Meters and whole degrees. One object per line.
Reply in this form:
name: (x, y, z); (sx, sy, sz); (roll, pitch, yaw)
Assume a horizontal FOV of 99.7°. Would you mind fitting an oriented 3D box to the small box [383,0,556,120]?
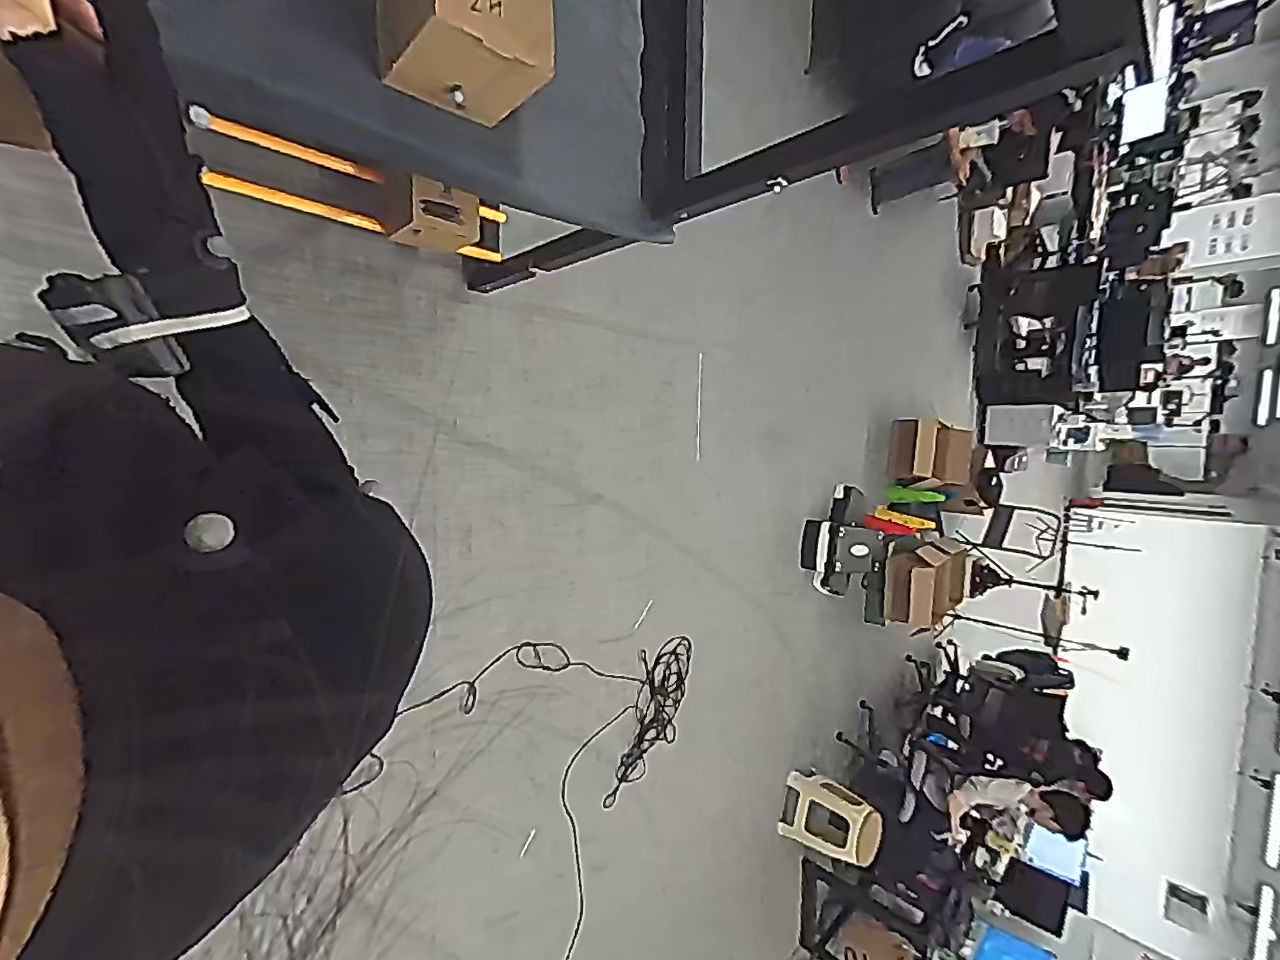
small box: (-0.229, -0.627, 0.714); (0.168, 0.176, 0.179); (-7, 98, -44)
